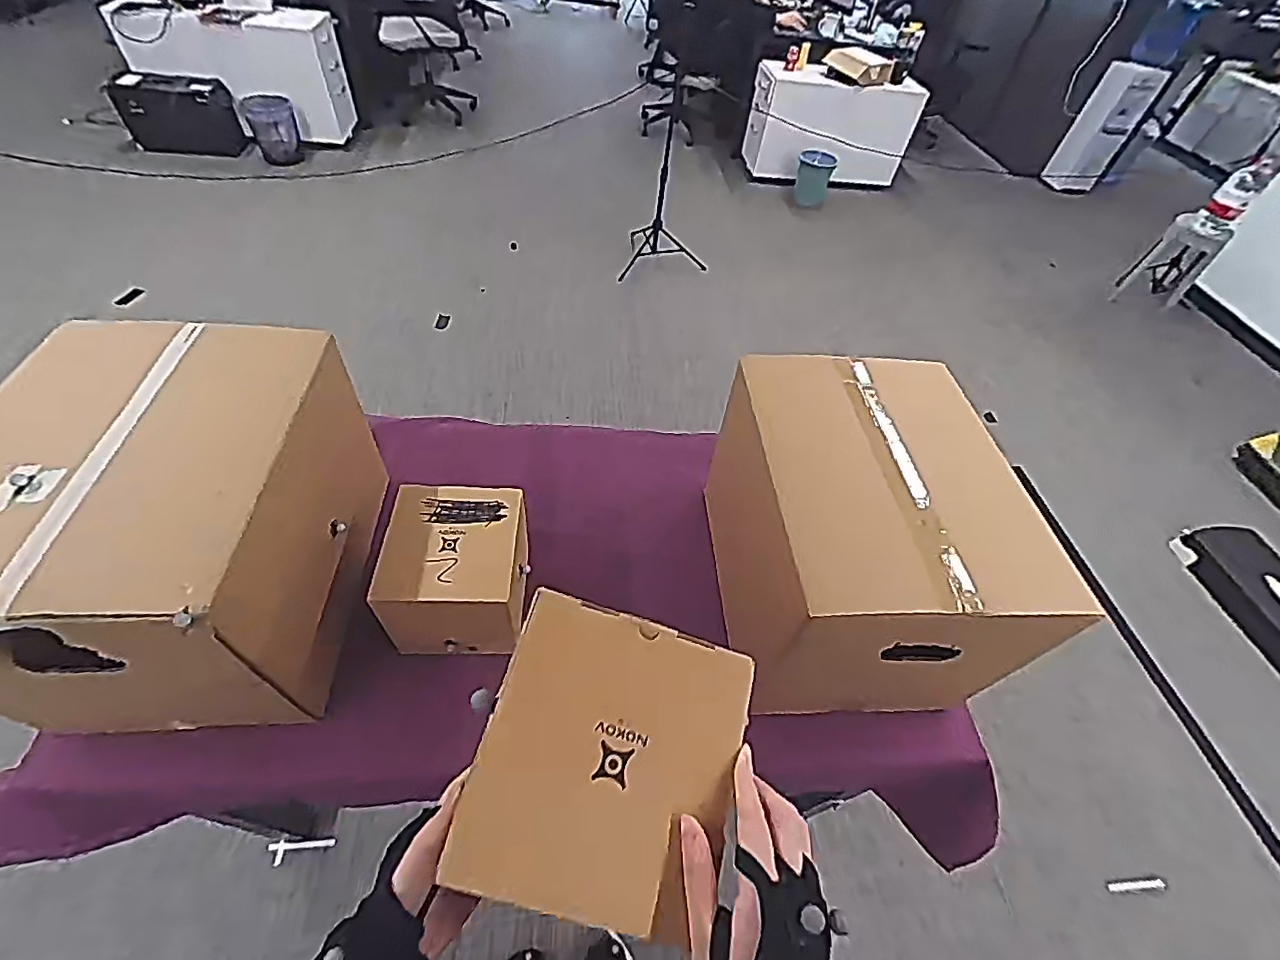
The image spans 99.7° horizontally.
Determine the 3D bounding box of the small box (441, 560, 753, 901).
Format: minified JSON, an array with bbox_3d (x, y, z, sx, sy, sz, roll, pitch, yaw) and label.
[{"bbox_3d":[-0.014,0.179,0.392,0.179,0.176,0.168,7,45,7],"label":"small box"}]
